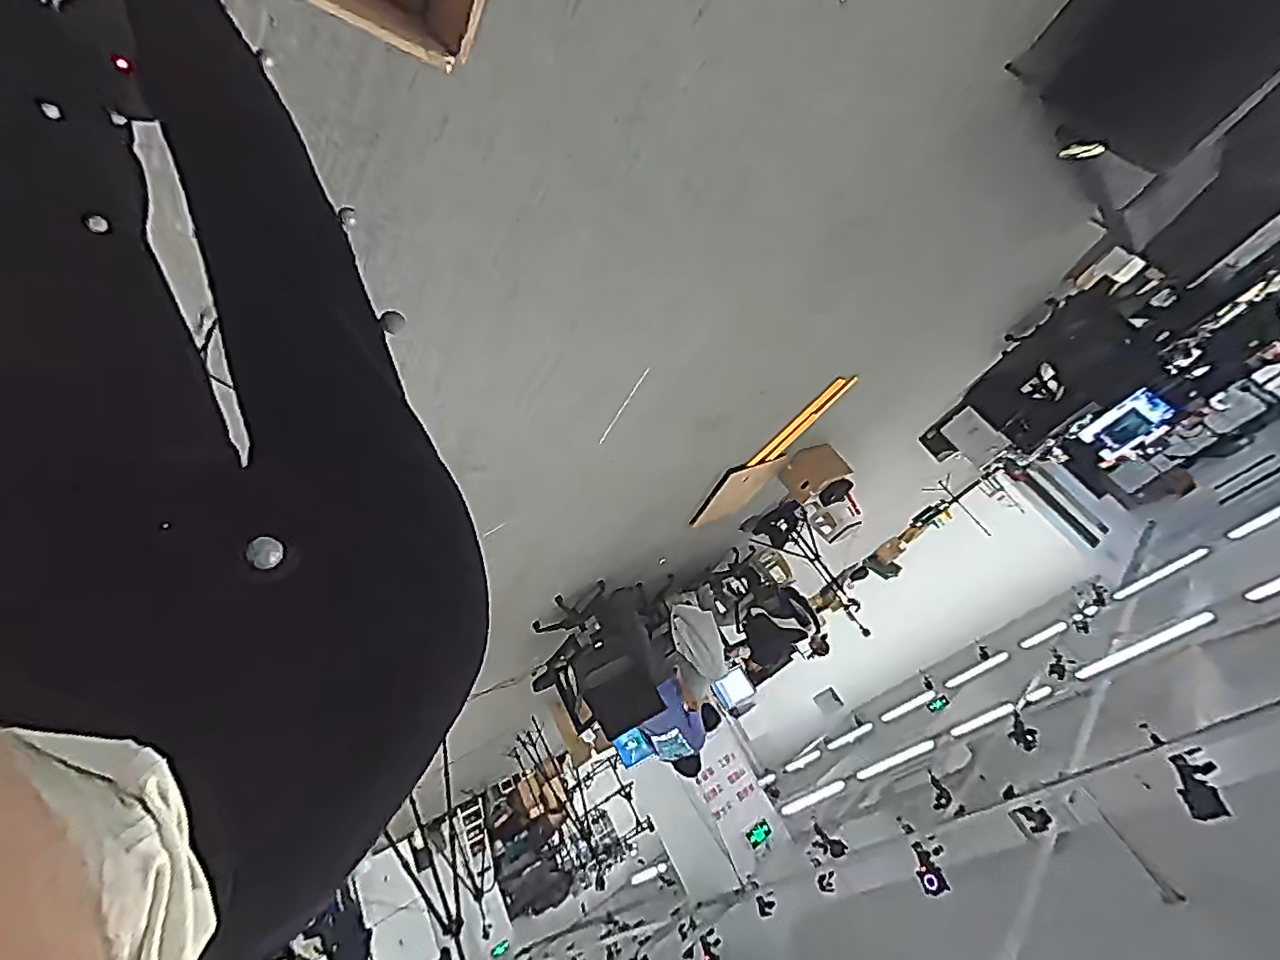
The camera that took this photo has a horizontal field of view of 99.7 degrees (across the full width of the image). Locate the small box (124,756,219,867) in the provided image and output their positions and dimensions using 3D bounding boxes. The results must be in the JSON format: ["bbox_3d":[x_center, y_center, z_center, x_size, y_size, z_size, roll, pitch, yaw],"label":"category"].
[{"bbox_3d":[-1.186,0.832,1.371,0.168,0.176,0.179,-8,146,-44],"label":"small box"}]

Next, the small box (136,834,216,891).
[{"bbox_3d":[-1.328,1.015,1.537,0.168,0.176,0.179,-7,145,-44],"label":"small box"}]
